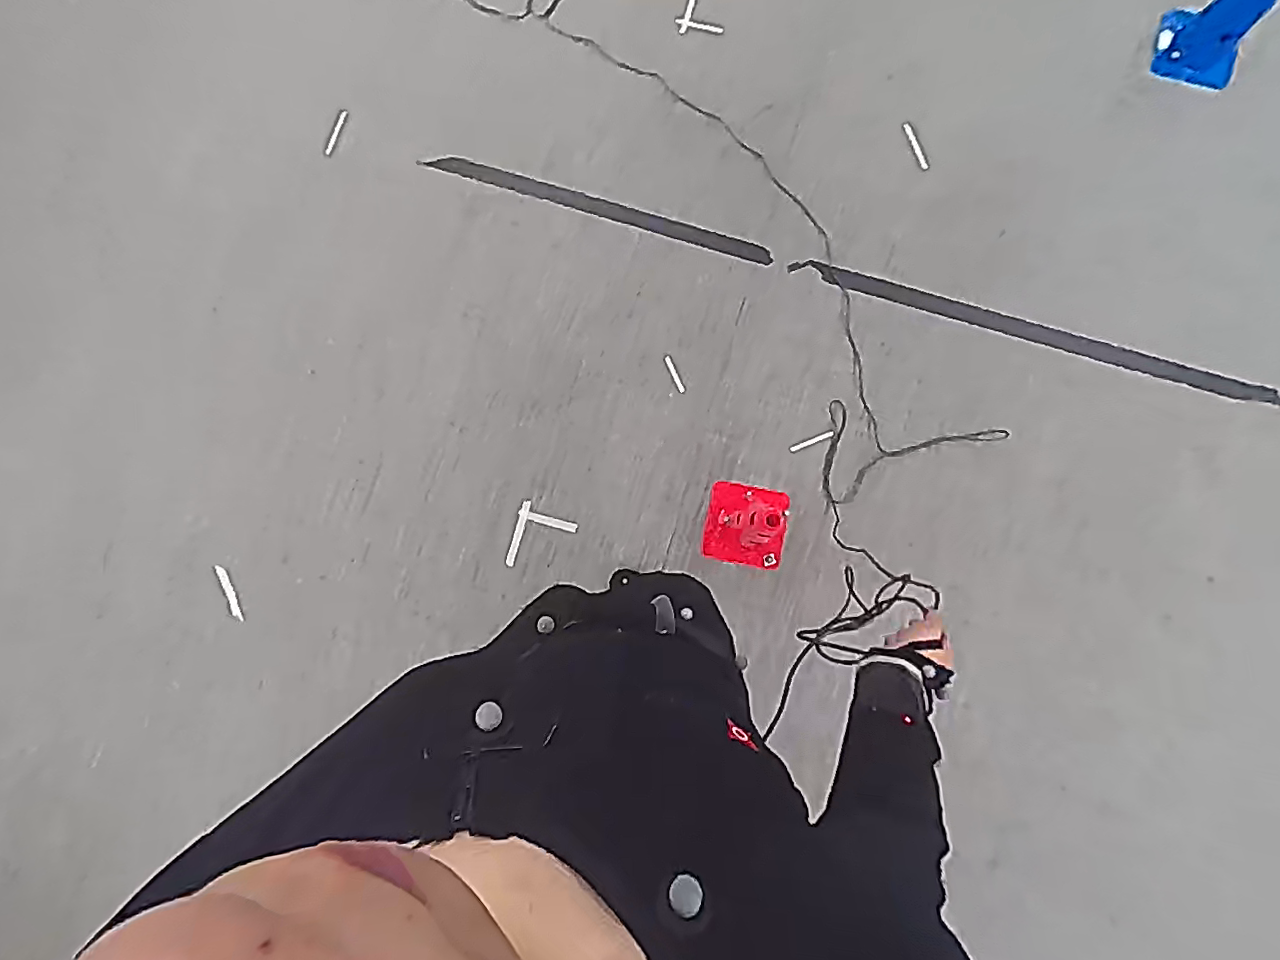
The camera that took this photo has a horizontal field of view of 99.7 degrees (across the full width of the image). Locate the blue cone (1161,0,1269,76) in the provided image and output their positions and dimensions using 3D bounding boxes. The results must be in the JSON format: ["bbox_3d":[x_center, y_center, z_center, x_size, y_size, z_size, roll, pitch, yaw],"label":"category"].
[{"bbox_3d":[1.468,-1.178,1.257,0.193,0.380,0.192,18,84,5],"label":"blue cone"}]

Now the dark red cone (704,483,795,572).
[{"bbox_3d":[0.256,0.094,1.158,0.202,0.394,0.201,10,83,4],"label":"dark red cone"}]
